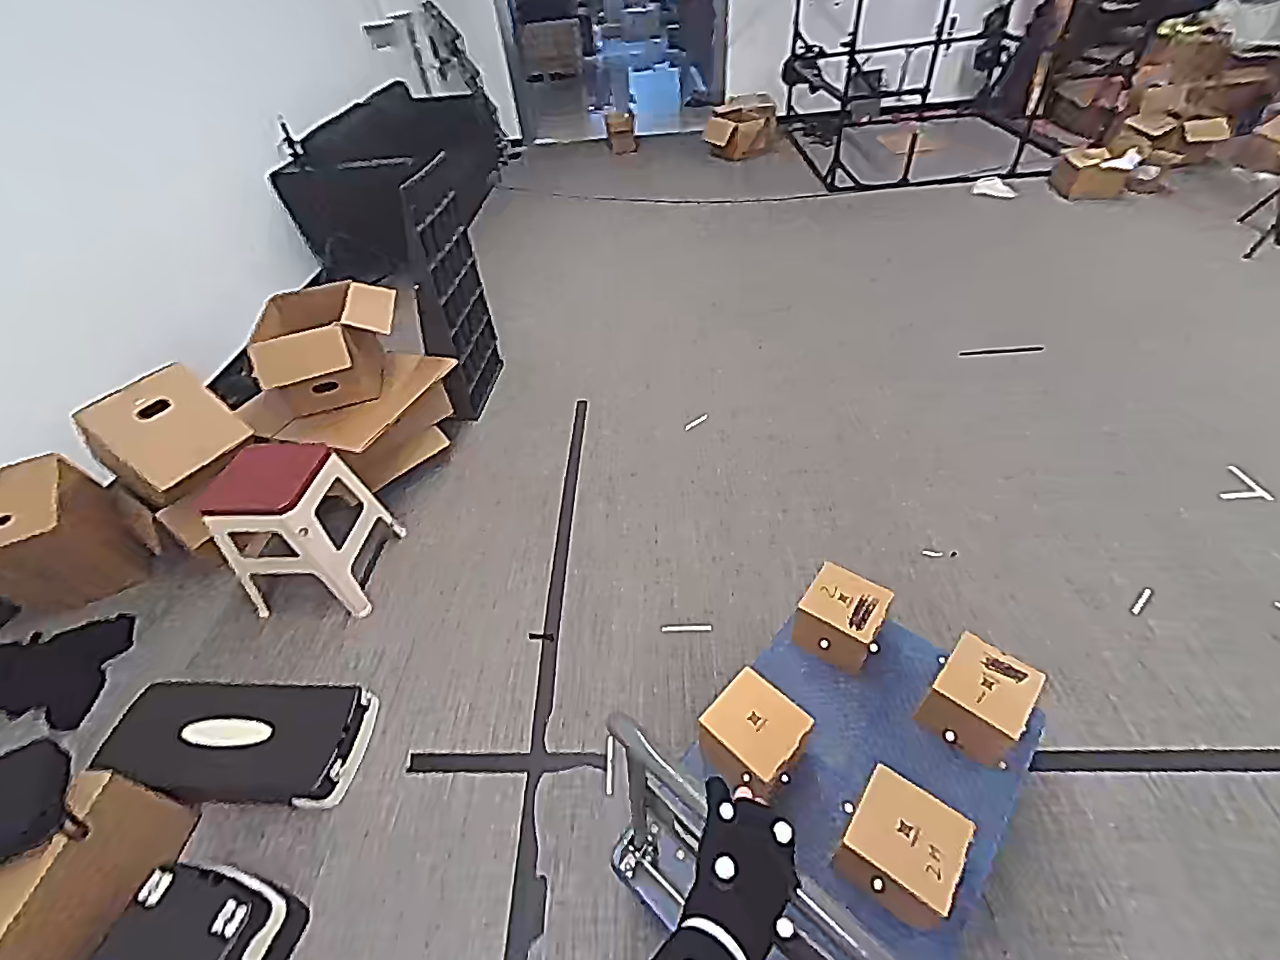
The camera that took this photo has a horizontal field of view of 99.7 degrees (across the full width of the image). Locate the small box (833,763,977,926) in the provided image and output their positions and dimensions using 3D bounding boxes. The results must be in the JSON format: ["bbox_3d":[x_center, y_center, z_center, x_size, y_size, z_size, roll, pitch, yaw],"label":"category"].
[{"bbox_3d":[0.479,0.676,1.000,0.179,0.176,0.168,27,53,30],"label":"small box"}]

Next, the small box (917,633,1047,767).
[{"bbox_3d":[0.735,0.478,1.178,0.168,0.176,0.179,31,56,32],"label":"small box"}]

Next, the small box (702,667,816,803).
[{"bbox_3d":[0.246,0.548,1.158,0.179,0.176,0.168,33,56,32],"label":"small box"}]
